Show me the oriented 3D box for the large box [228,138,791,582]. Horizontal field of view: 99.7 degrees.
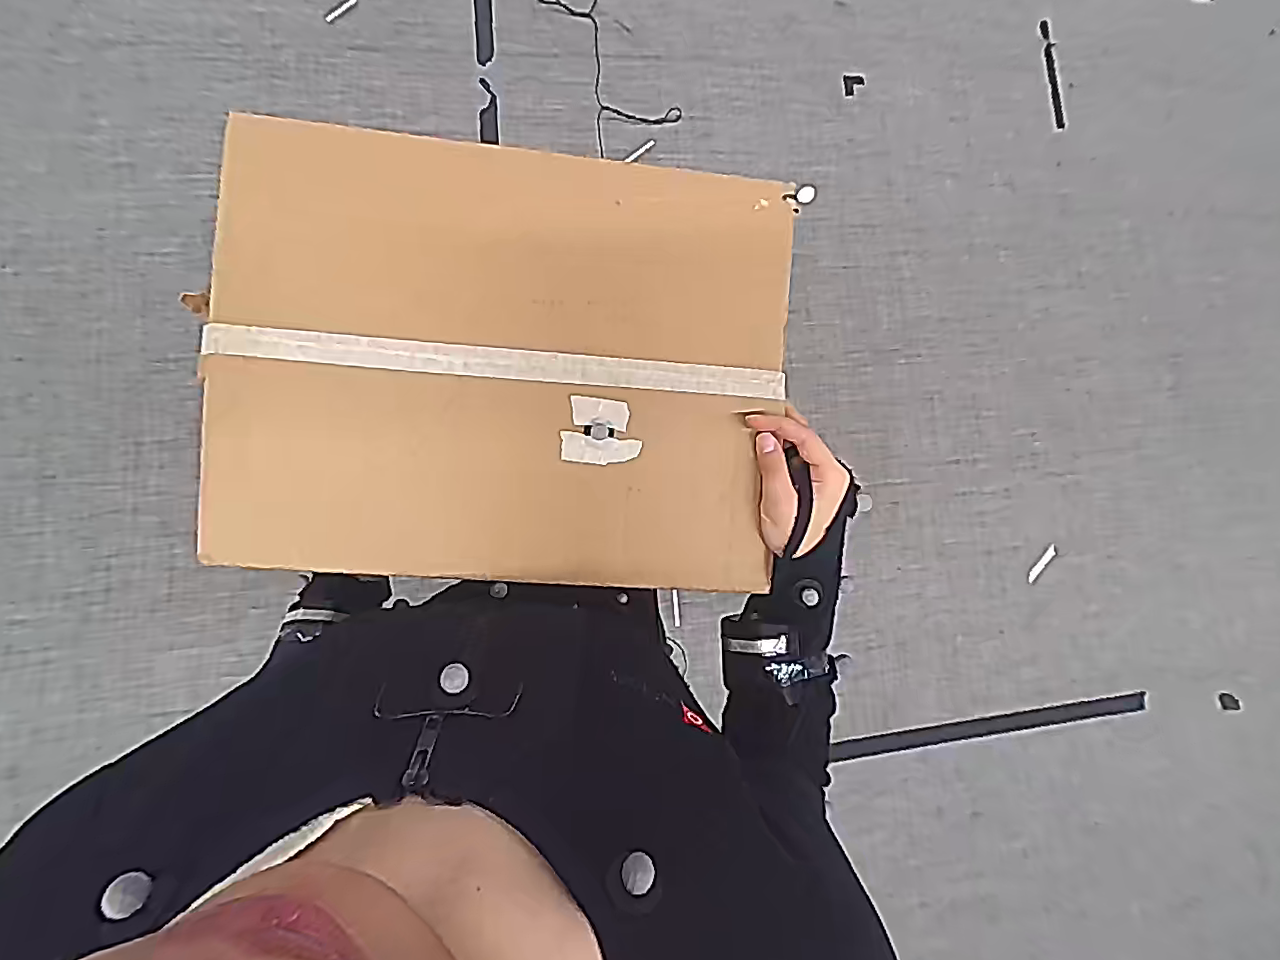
[{"bbox_3d":[-0.103,-0.081,0.548,0.408,0.320,0.320,3,90,-6],"label":"large box"}]
